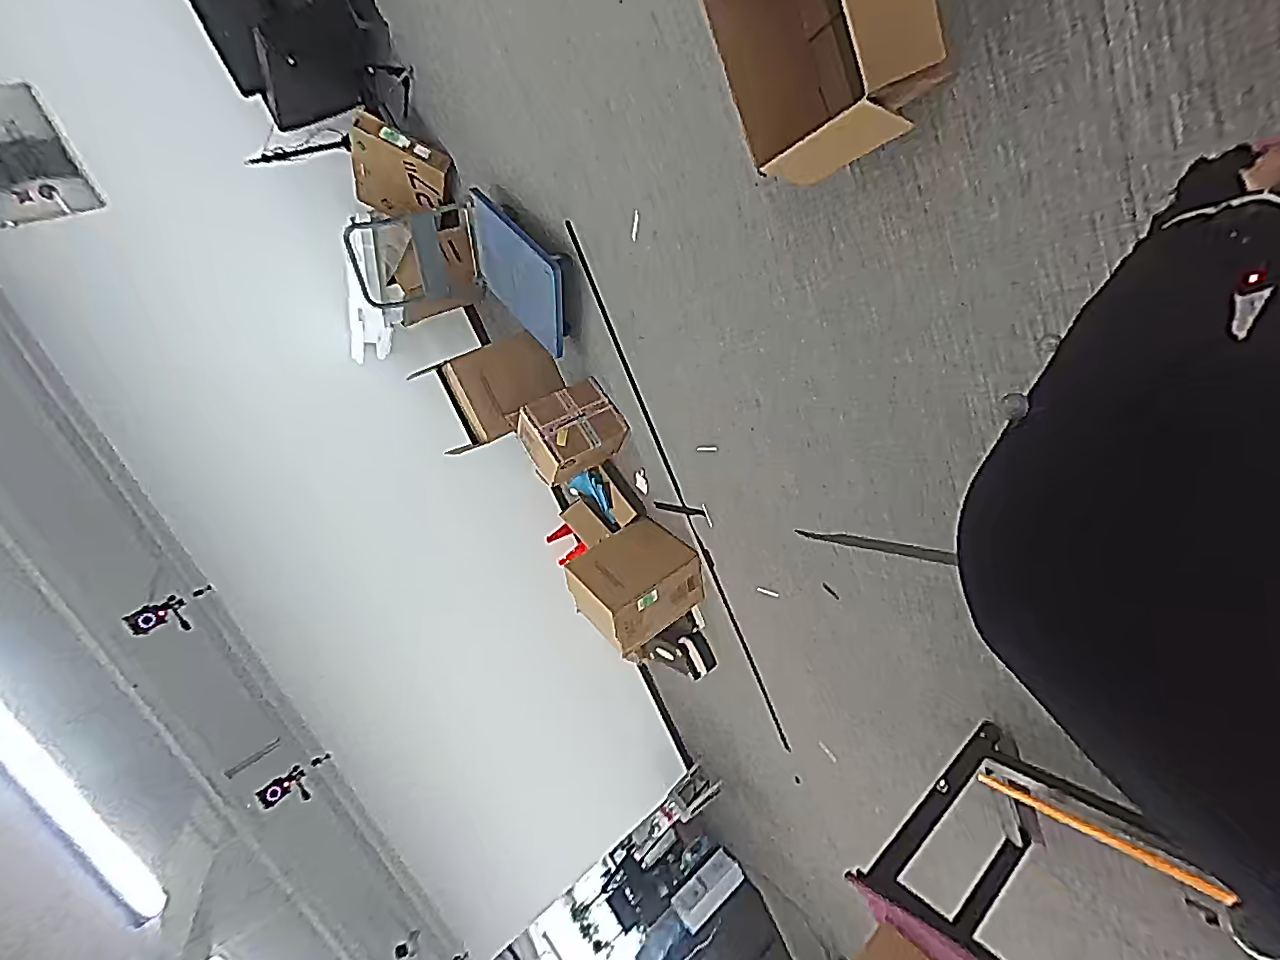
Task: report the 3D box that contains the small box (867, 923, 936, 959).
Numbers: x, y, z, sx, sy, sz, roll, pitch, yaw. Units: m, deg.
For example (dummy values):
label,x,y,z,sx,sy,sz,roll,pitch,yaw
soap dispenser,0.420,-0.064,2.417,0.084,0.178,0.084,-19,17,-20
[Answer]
label,x,y,z,sx,sy,sz,roll,pitch,yaw
small box,0.759,1.425,1.529,0.179,0.176,0.168,14,131,58
